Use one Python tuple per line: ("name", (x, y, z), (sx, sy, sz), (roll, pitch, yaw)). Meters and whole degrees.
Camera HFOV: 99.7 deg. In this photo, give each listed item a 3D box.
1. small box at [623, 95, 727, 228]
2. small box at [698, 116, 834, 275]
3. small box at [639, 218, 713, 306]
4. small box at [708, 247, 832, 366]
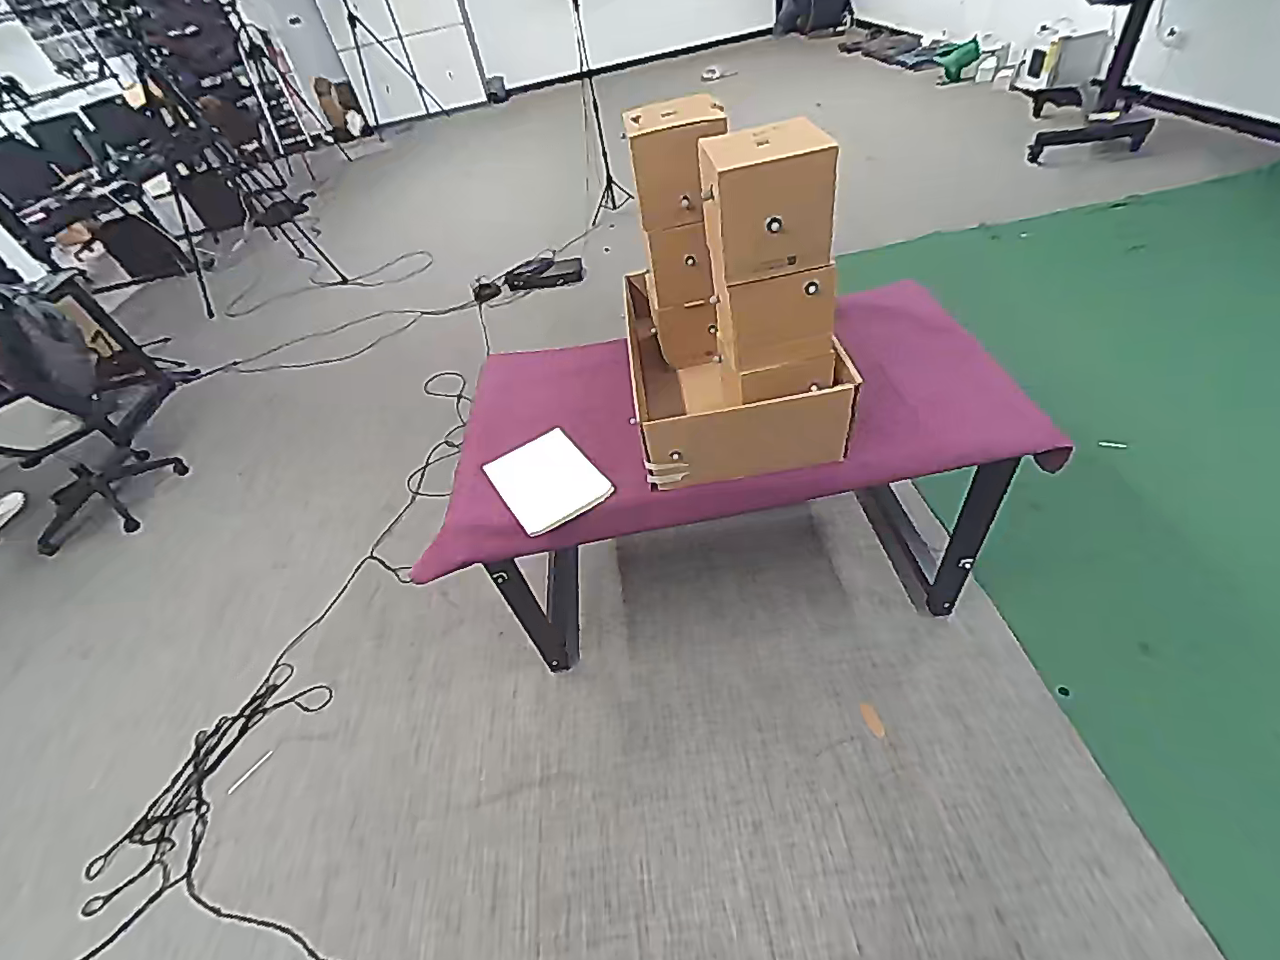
("small box", (0.068, -0.614, 1.048), (0.179, 0.176, 0.168), (-9, 46, 2))
("small box", (0.190, -0.434, 0.840), (0.168, 0.176, 0.179), (-10, 44, 4))
("small box", (0.096, -0.501, 1.164), (0.179, 0.176, 0.168), (-12, 46, 2))
("small box", (0.224, -0.320, 0.954), (0.179, 0.176, 0.168), (-10, 44, 4))
